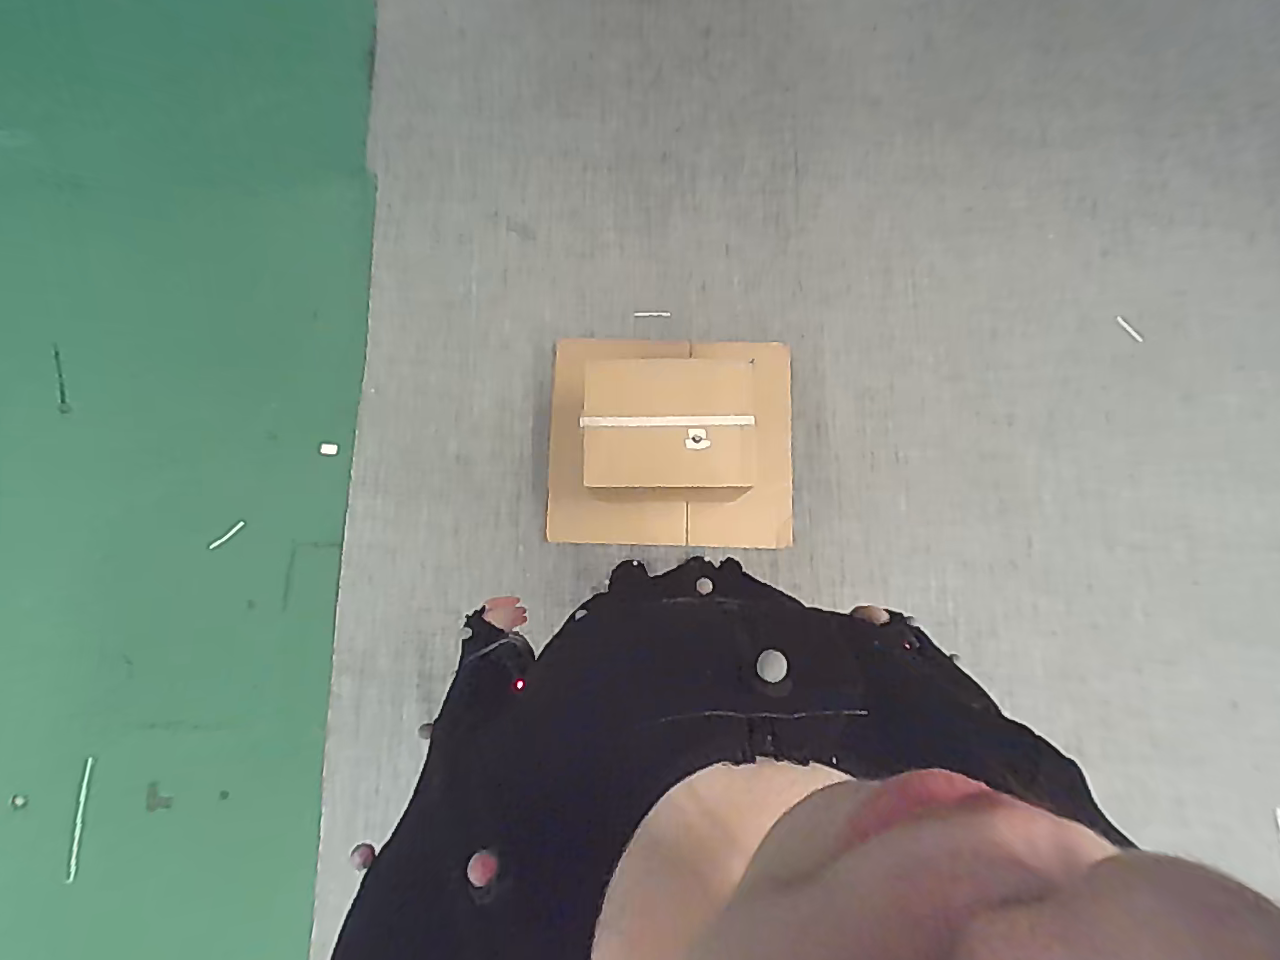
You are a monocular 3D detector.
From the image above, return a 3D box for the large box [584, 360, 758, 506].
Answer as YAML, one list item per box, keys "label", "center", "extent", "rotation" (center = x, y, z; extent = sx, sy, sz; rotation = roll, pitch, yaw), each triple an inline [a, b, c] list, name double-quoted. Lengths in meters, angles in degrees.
- label: "large box"
  center: [0.067, -0.106, 1.405]
  extent: [0.408, 0.320, 0.320]
  rotation: [0, 81, 0]
